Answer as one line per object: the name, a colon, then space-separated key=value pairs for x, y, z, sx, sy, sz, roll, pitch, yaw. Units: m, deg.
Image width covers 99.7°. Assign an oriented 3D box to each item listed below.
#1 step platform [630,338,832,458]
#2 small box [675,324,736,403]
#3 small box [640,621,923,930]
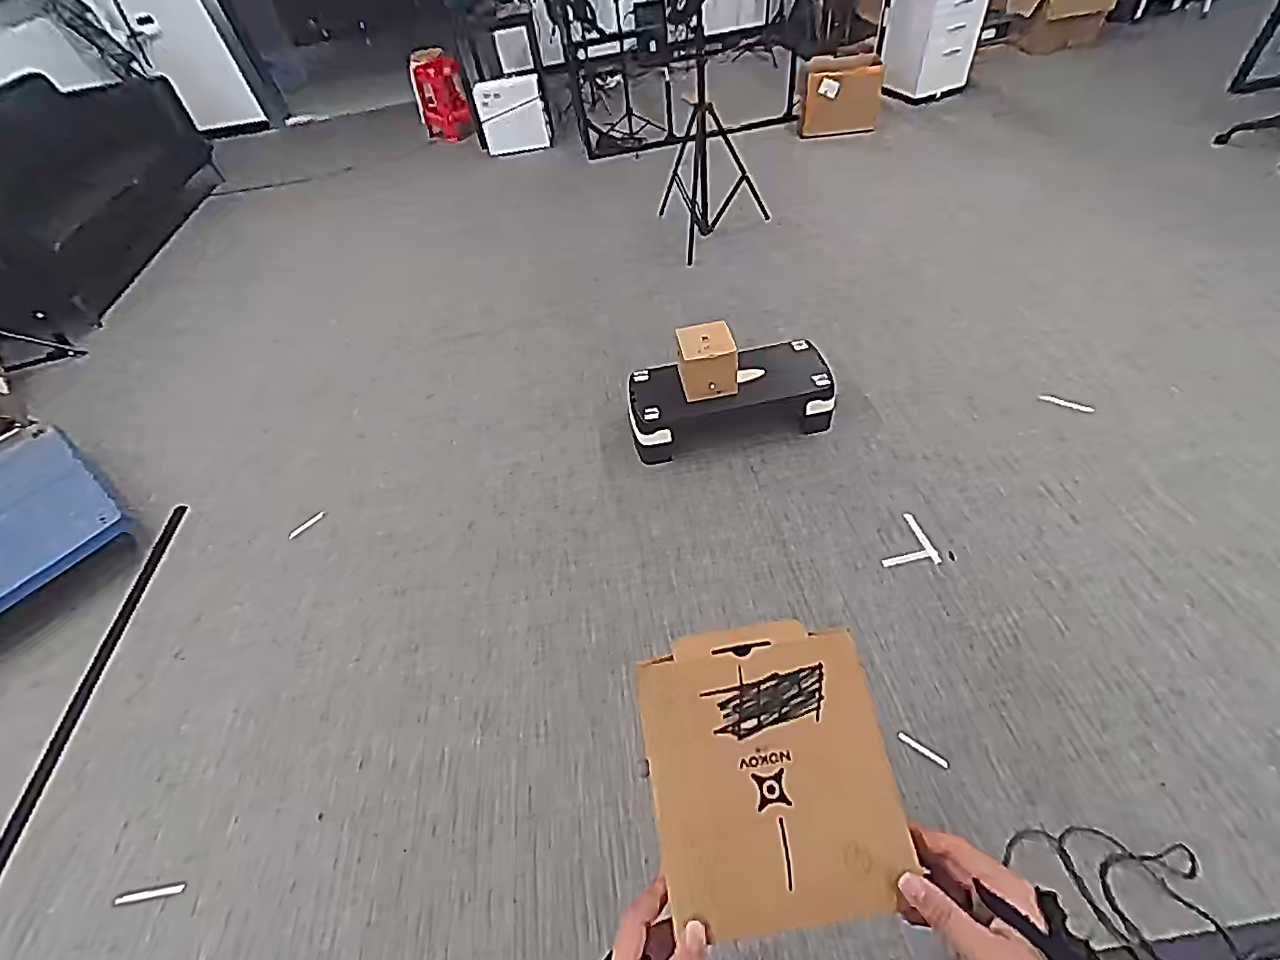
step platform: x=0.309 y=-0.292 z=1.898 sx=0.684 sy=0.204 sz=0.286 roll=-12 pitch=48 yaw=0
small box: x=0.209 y=-0.376 z=1.755 sx=0.168 sy=0.176 sz=0.179 roll=-10 pitch=49 yaw=1
small box: x=0.095 y=0.228 z=0.452 sx=0.168 sy=0.176 sz=0.179 roll=-10 pitch=68 yaw=1
